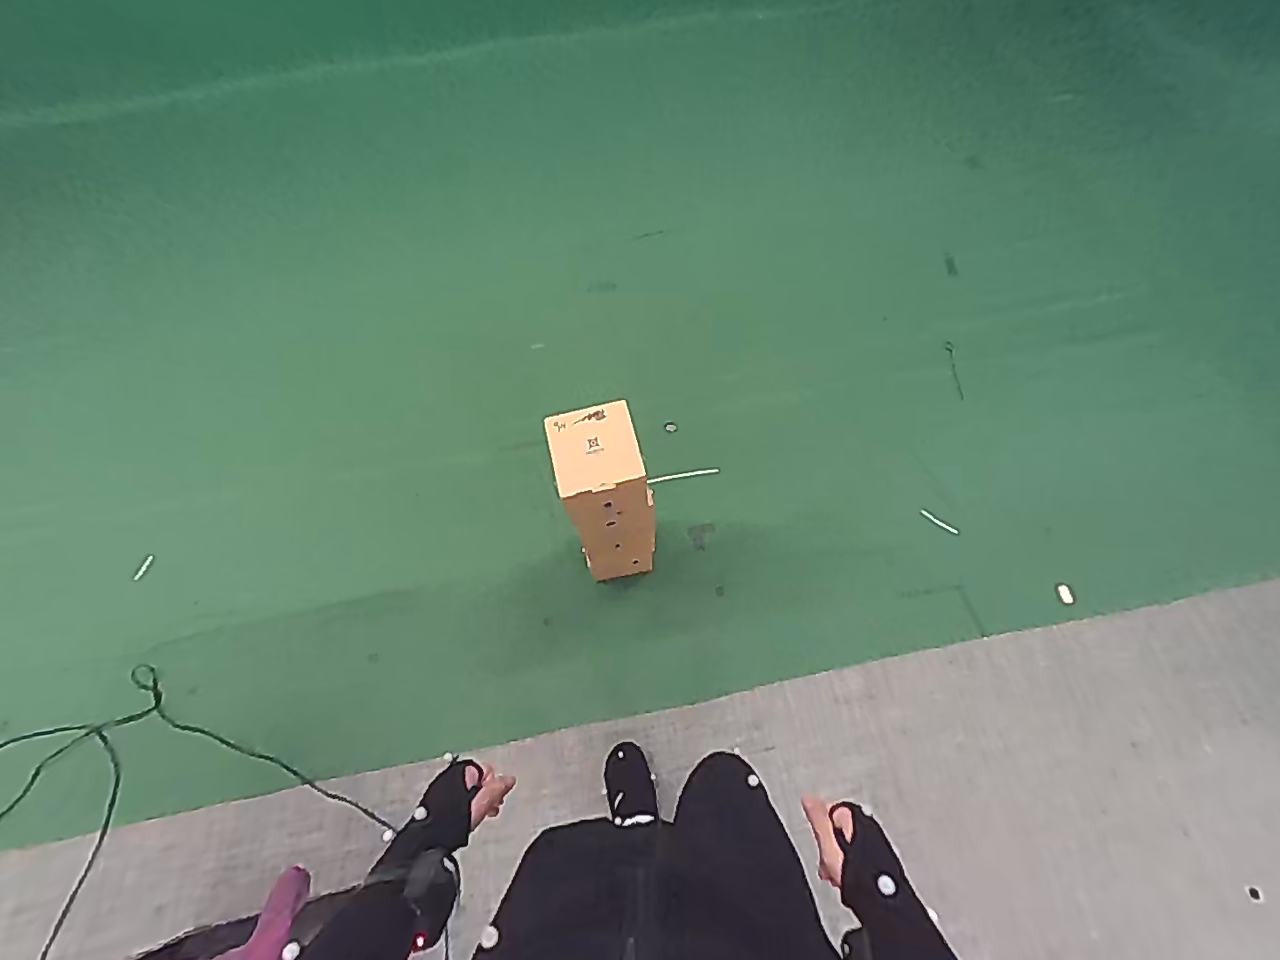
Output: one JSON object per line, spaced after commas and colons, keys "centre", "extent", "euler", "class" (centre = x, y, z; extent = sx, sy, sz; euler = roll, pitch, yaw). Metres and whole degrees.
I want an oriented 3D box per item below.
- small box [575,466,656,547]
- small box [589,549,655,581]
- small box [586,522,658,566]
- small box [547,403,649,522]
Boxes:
{"centre": [-0.066, 0.041, 1.242], "extent": [0.179, 0.176, 0.168], "euler": [-15, 67, -5], "class": "small box"}
{"centre": [-0.057, 0.178, 1.538], "extent": [0.179, 0.176, 0.168], "euler": [-11, 66, -3], "class": "small box"}
{"centre": [-0.057, 0.108, 1.391], "extent": [0.179, 0.176, 0.168], "euler": [-14, 66, -3], "class": "small box"}
{"centre": [-0.079, -0.026, 1.093], "extent": [0.168, 0.176, 0.179], "euler": [-13, 67, -3], "class": "small box"}
